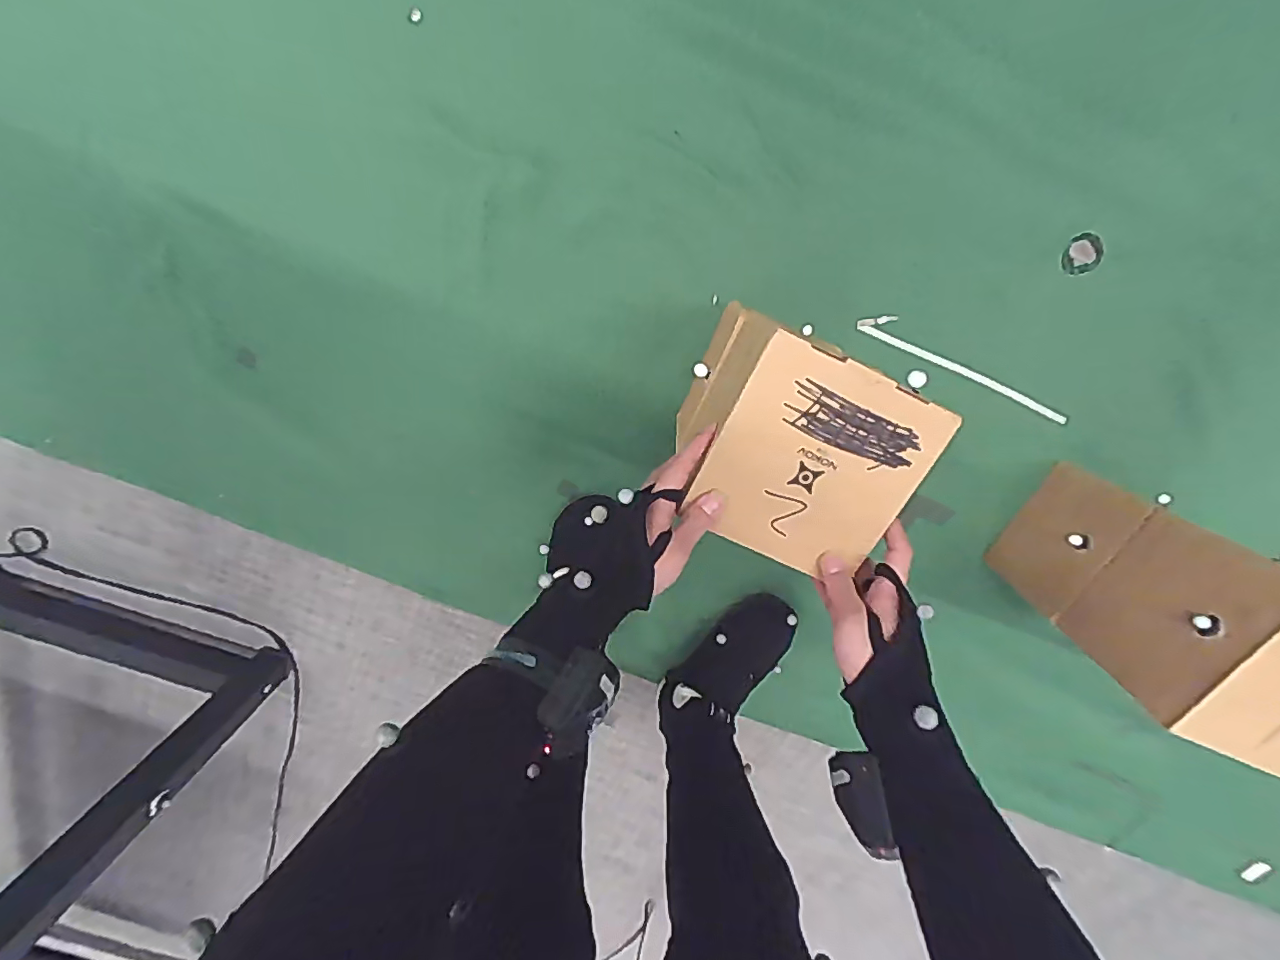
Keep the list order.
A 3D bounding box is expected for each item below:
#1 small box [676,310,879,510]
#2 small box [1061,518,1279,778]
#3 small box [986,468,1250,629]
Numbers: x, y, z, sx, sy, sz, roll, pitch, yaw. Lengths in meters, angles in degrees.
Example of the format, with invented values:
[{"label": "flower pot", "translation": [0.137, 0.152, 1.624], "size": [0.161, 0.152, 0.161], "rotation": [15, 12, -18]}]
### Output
[{"label": "small box", "translation": [0.155, -0.095, 0.672], "size": [0.168, 0.176, 0.179], "rotation": [23, 109, -5]}, {"label": "small box", "translation": [0.606, 0.165, 0.565], "size": [0.168, 0.176, 0.179], "rotation": [23, 110, -6]}, {"label": "small box", "translation": [0.612, 0.106, 0.719], "size": [0.168, 0.176, 0.179], "rotation": [24, 110, -6]}]
